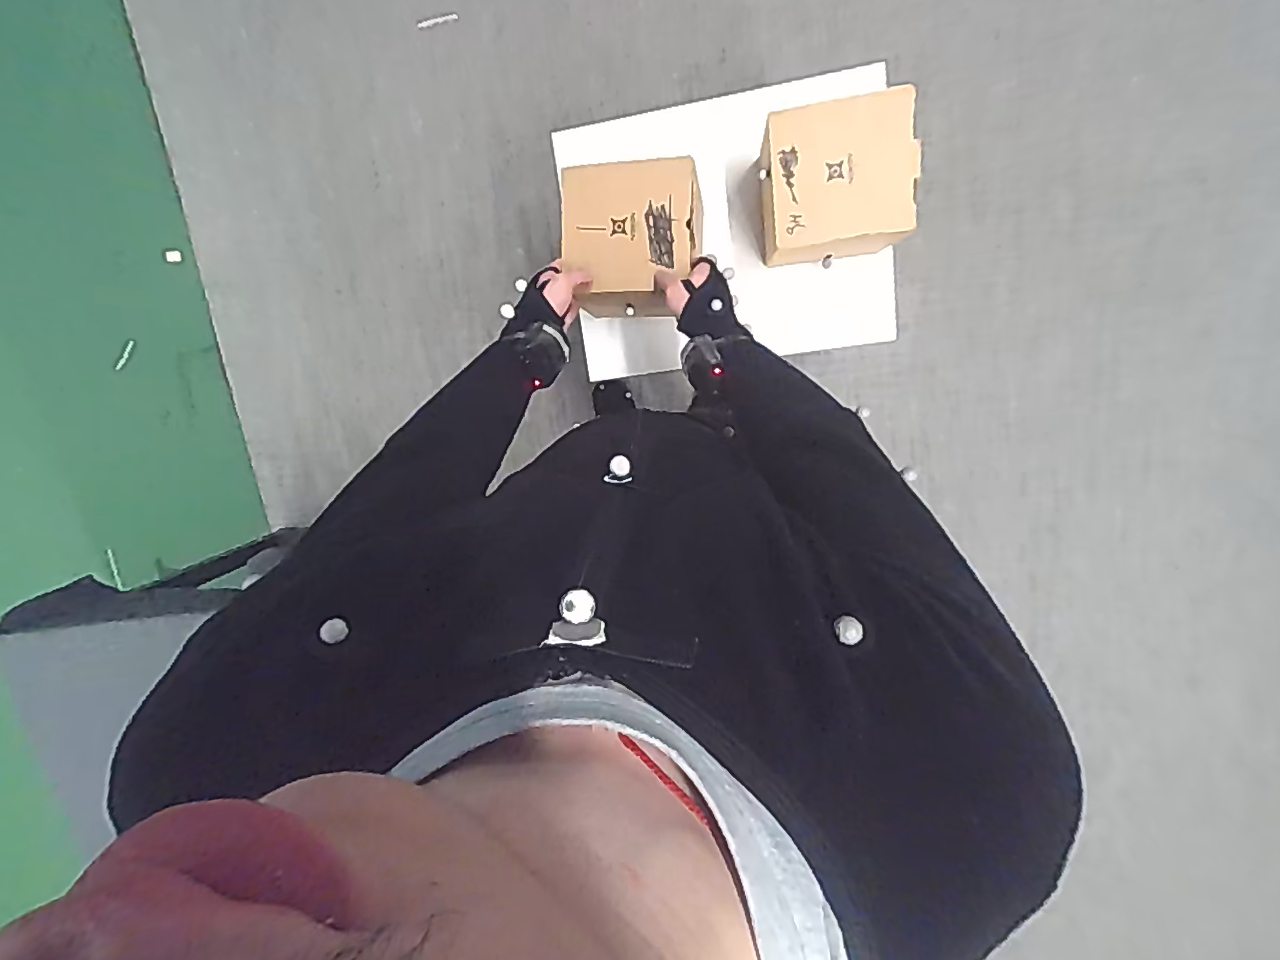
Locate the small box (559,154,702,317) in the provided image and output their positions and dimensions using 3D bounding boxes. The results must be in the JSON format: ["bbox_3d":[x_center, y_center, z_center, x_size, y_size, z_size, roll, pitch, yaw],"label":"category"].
[{"bbox_3d":[-0.005,-0.329,0.759,0.179,0.176,0.168,2,96,10],"label":"small box"}]

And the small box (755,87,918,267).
[{"bbox_3d":[0.261,-0.402,0.748,0.179,0.176,0.168,-5,102,7],"label":"small box"}]
